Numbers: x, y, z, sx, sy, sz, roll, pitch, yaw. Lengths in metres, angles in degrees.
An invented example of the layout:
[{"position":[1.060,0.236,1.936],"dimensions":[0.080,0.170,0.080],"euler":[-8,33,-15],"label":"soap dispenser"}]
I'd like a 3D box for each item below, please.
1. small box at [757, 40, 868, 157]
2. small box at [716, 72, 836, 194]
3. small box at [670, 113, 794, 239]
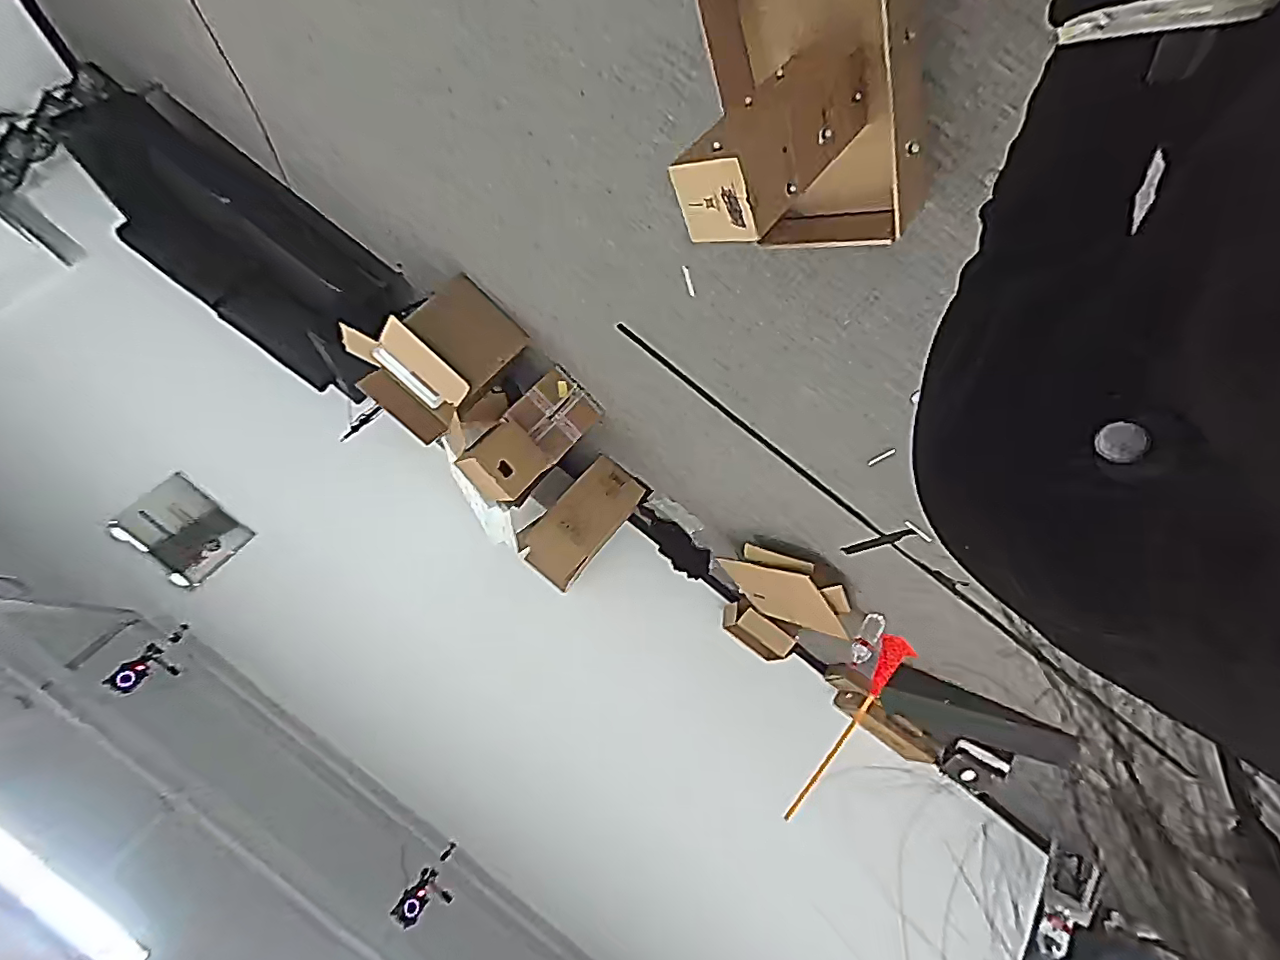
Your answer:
[{"position":[0.392,-0.851,1.223],"dimensions":[0.179,0.176,0.168],"euler":[21,152,38],"label":"small box"},{"position":[0.296,-0.736,1.162],"dimensions":[0.179,0.176,0.168],"euler":[19,152,39],"label":"small box"},{"position":[0.197,-0.618,1.105],"dimensions":[0.179,0.176,0.168],"euler":[21,152,40],"label":"small box"}]
